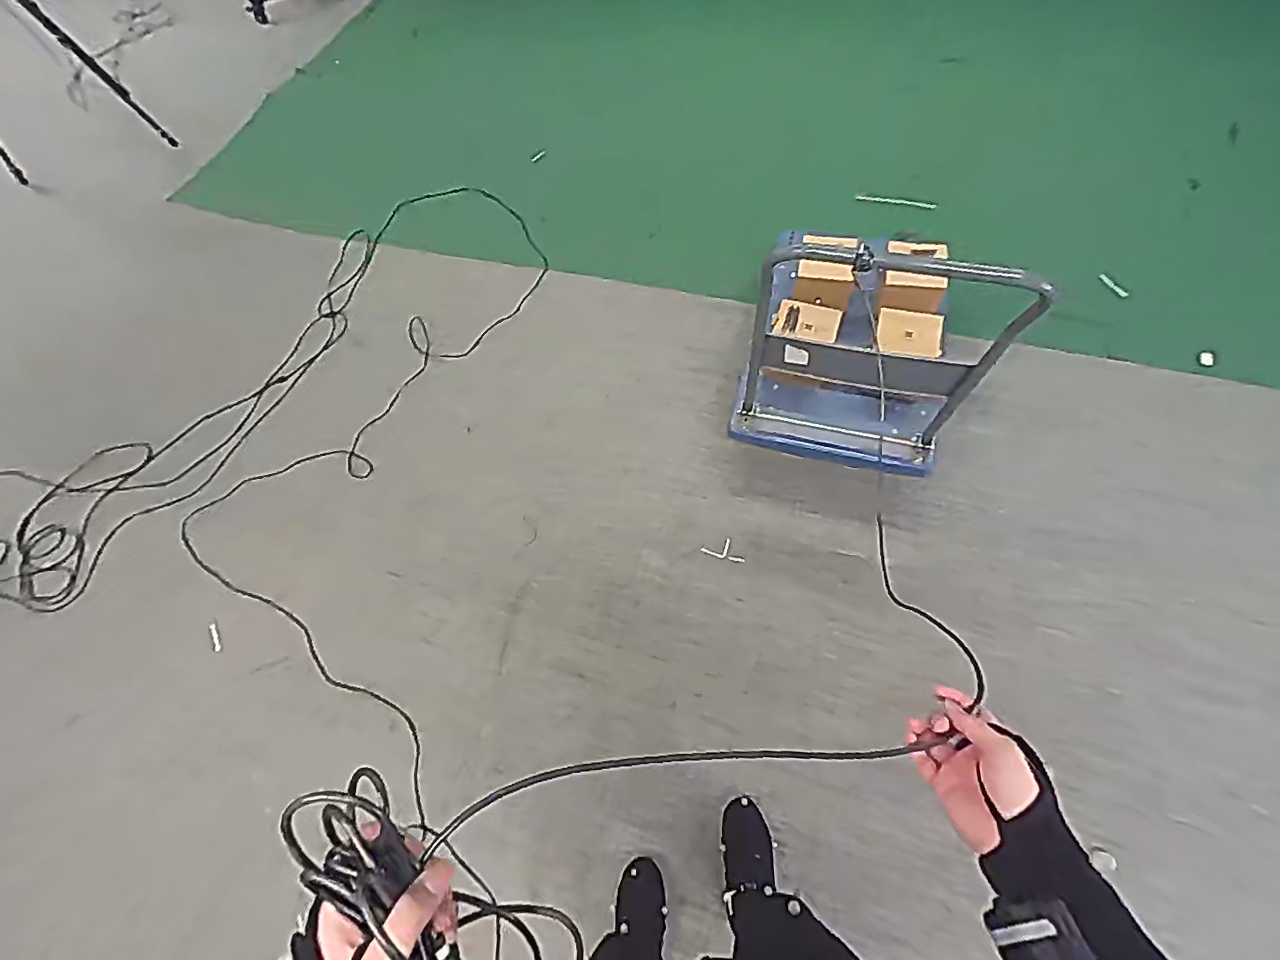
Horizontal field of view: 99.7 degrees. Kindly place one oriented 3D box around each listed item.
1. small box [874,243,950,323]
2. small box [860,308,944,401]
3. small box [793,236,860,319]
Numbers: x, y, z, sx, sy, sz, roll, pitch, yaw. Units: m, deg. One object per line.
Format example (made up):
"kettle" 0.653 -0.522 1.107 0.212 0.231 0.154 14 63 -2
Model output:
"small box" 0.826 -0.593 1.654 0.168 0.176 0.179 10 67 12
"small box" 0.746 -0.357 1.550 0.168 0.176 0.179 14 67 13
"small box" 0.583 -0.633 1.703 0.168 0.176 0.179 10 66 11
